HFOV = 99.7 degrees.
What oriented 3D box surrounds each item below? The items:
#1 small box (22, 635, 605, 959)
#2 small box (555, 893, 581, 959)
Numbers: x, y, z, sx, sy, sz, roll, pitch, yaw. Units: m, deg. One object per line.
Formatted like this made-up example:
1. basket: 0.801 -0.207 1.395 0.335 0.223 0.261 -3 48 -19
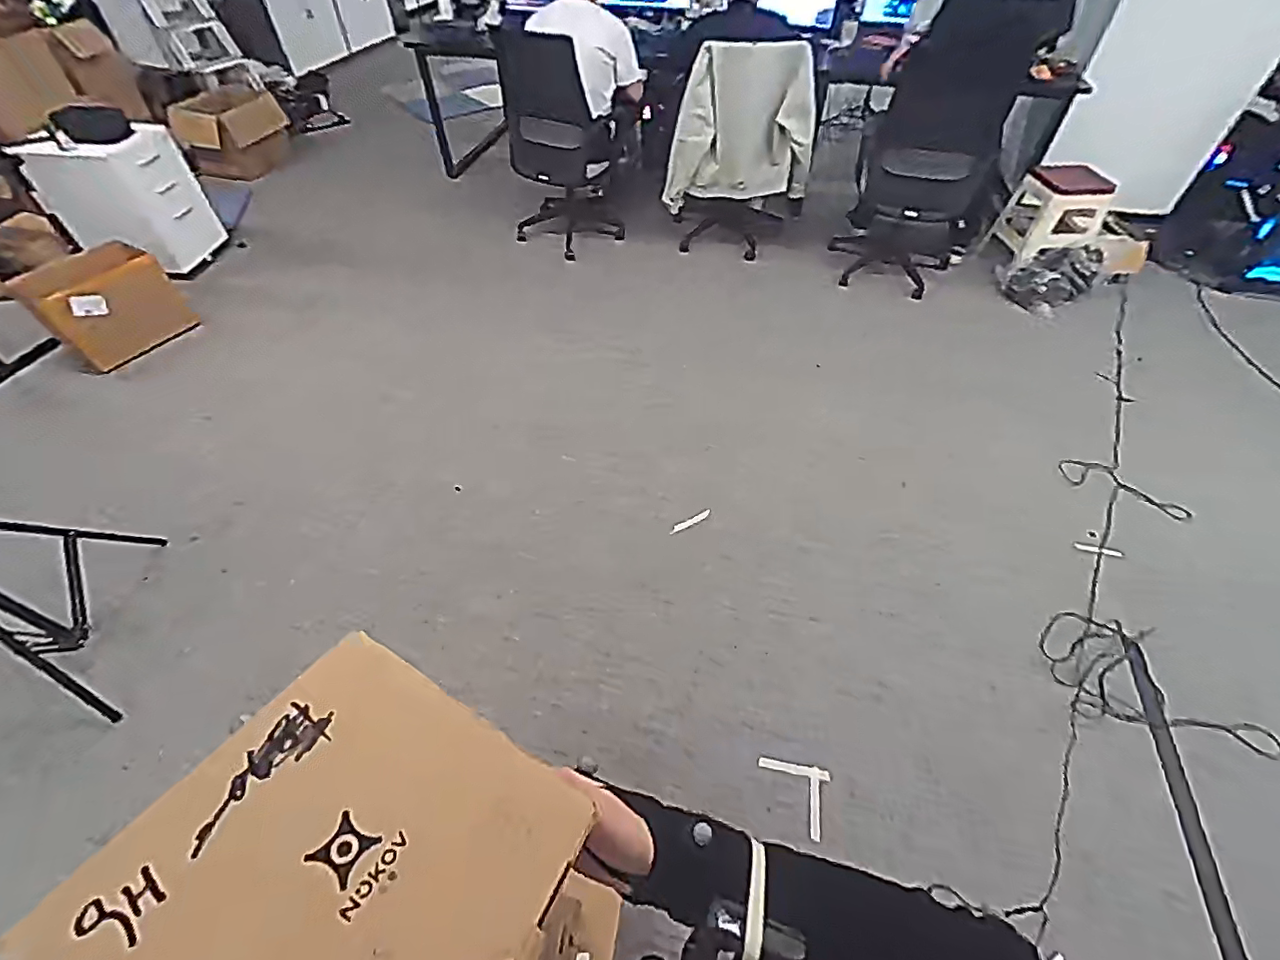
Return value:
1. small box: -0.154 0.229 0.303 0.179 0.176 0.168 35 42 5
2. small box: -0.182 0.632 0.715 0.179 0.176 0.168 7 49 6
